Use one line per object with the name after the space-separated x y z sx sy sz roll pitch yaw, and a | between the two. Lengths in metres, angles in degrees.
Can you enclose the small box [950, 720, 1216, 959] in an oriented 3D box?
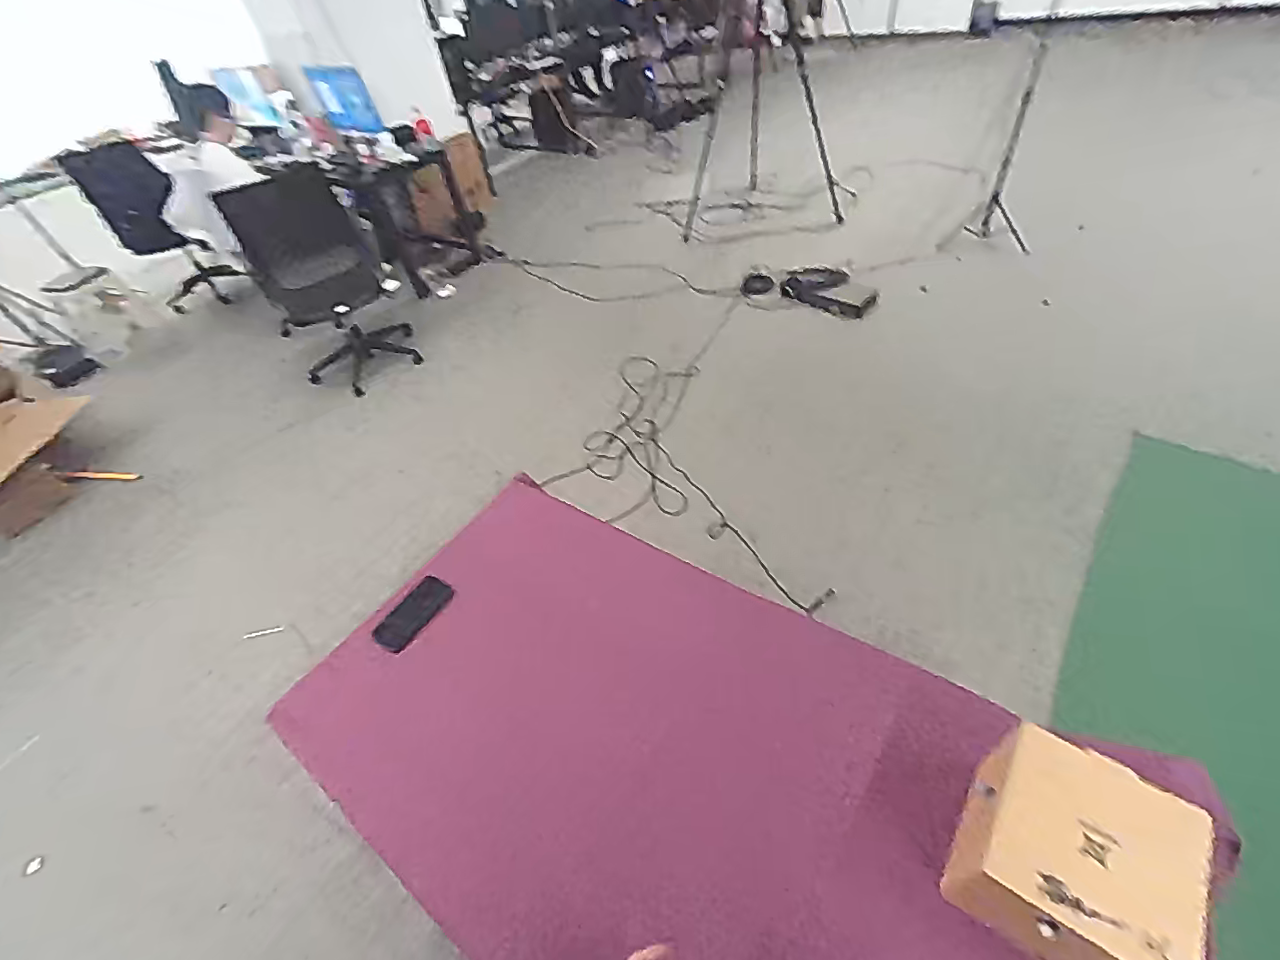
0.462 0.407 0.586 0.168 0.176 0.179 24 56 31 | small box
